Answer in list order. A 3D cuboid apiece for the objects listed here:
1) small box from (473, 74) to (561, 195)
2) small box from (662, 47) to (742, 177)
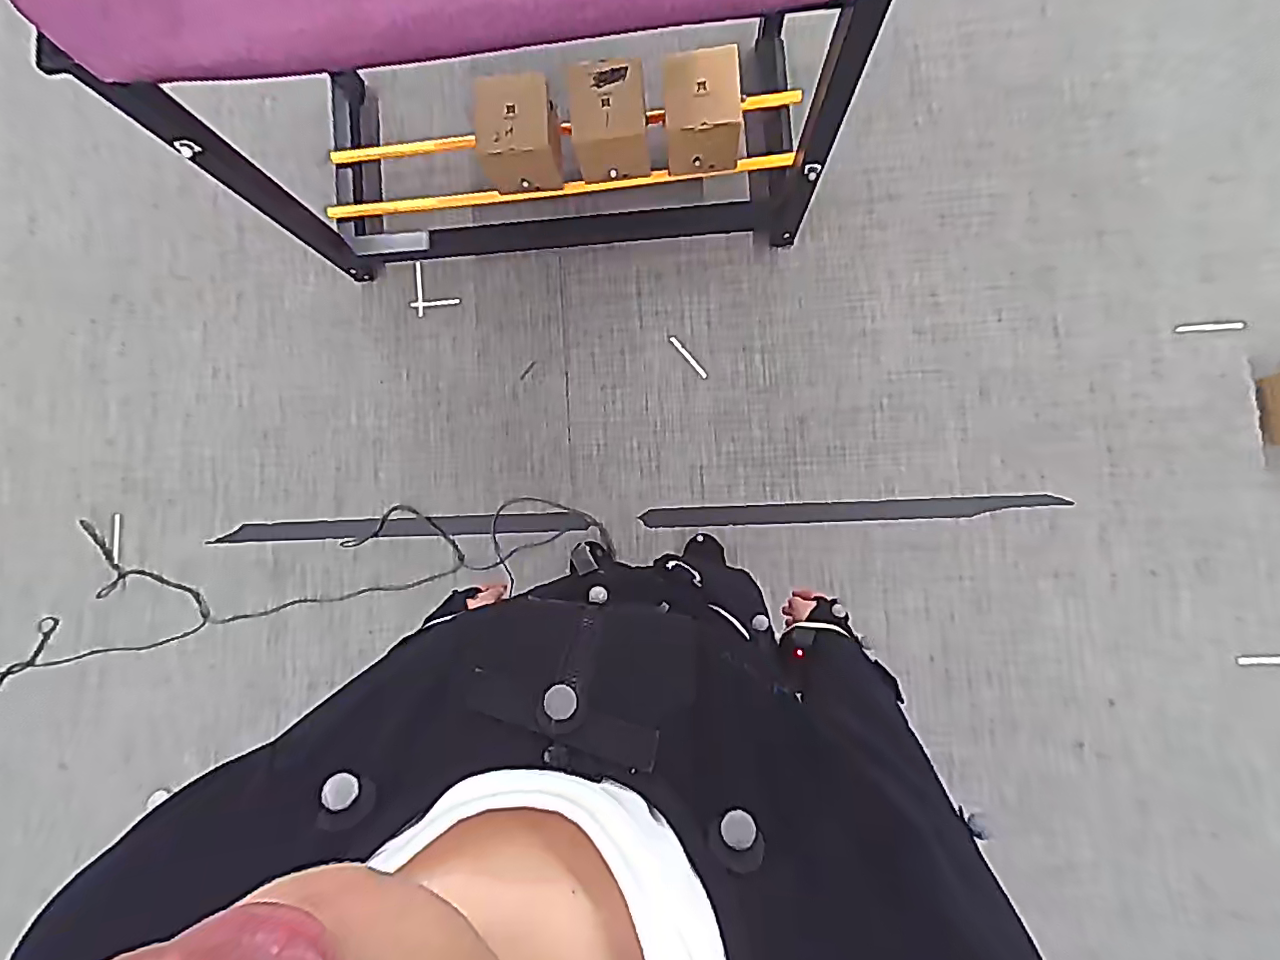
[{"bbox_3d":[-0.282,-0.802,1.268,0.168,0.176,0.179,-2,88,4],"label":"small box"},{"bbox_3d":[0.136,-0.833,1.238,0.168,0.176,0.179,-5,88,4],"label":"small box"}]
